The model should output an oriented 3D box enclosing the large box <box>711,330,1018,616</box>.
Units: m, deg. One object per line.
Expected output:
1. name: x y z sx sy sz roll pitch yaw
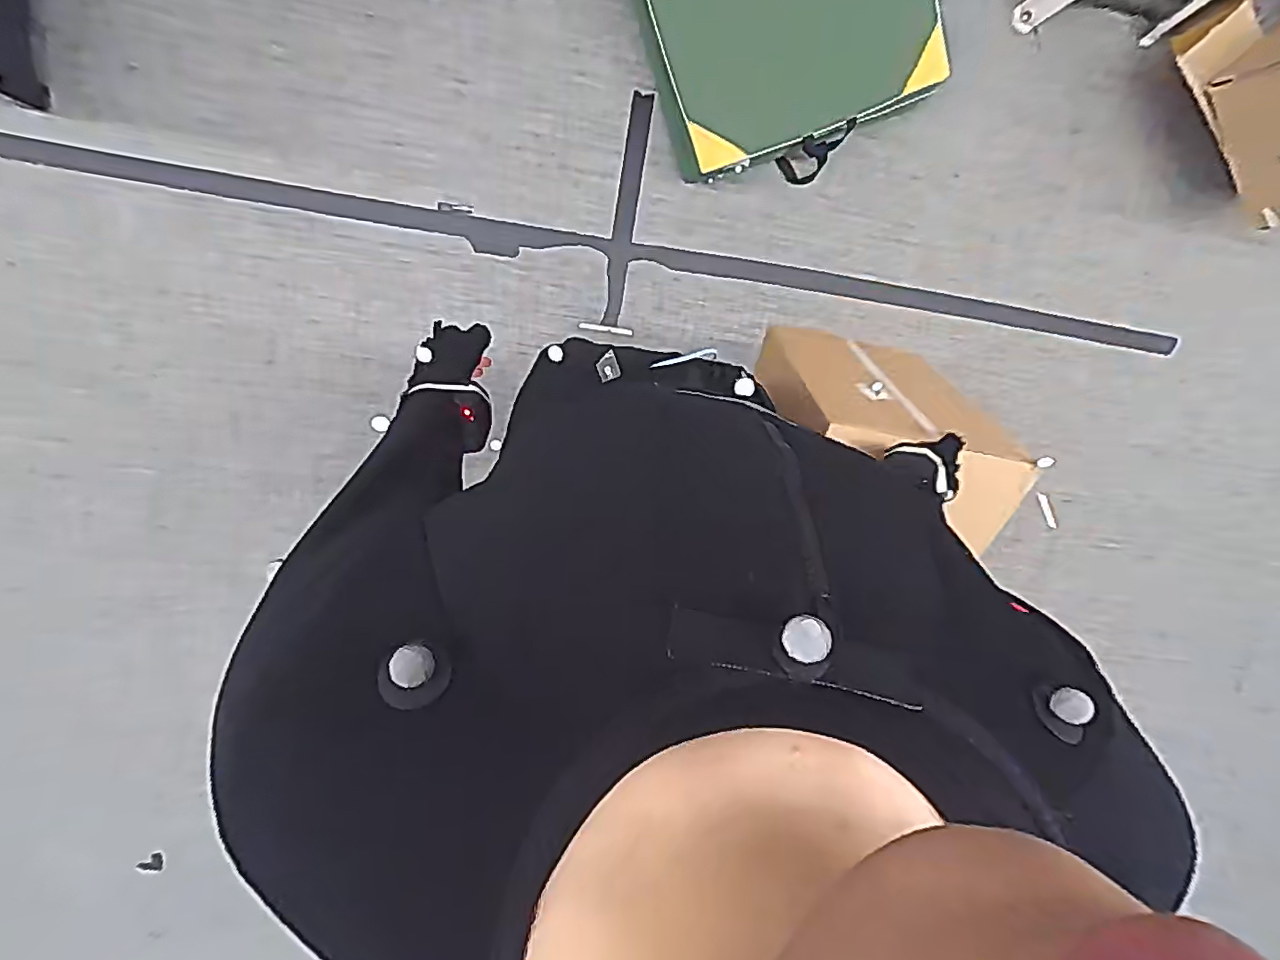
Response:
1. large box: 0.340 -0.027 0.973 0.320 0.408 0.320 10 124 -7
